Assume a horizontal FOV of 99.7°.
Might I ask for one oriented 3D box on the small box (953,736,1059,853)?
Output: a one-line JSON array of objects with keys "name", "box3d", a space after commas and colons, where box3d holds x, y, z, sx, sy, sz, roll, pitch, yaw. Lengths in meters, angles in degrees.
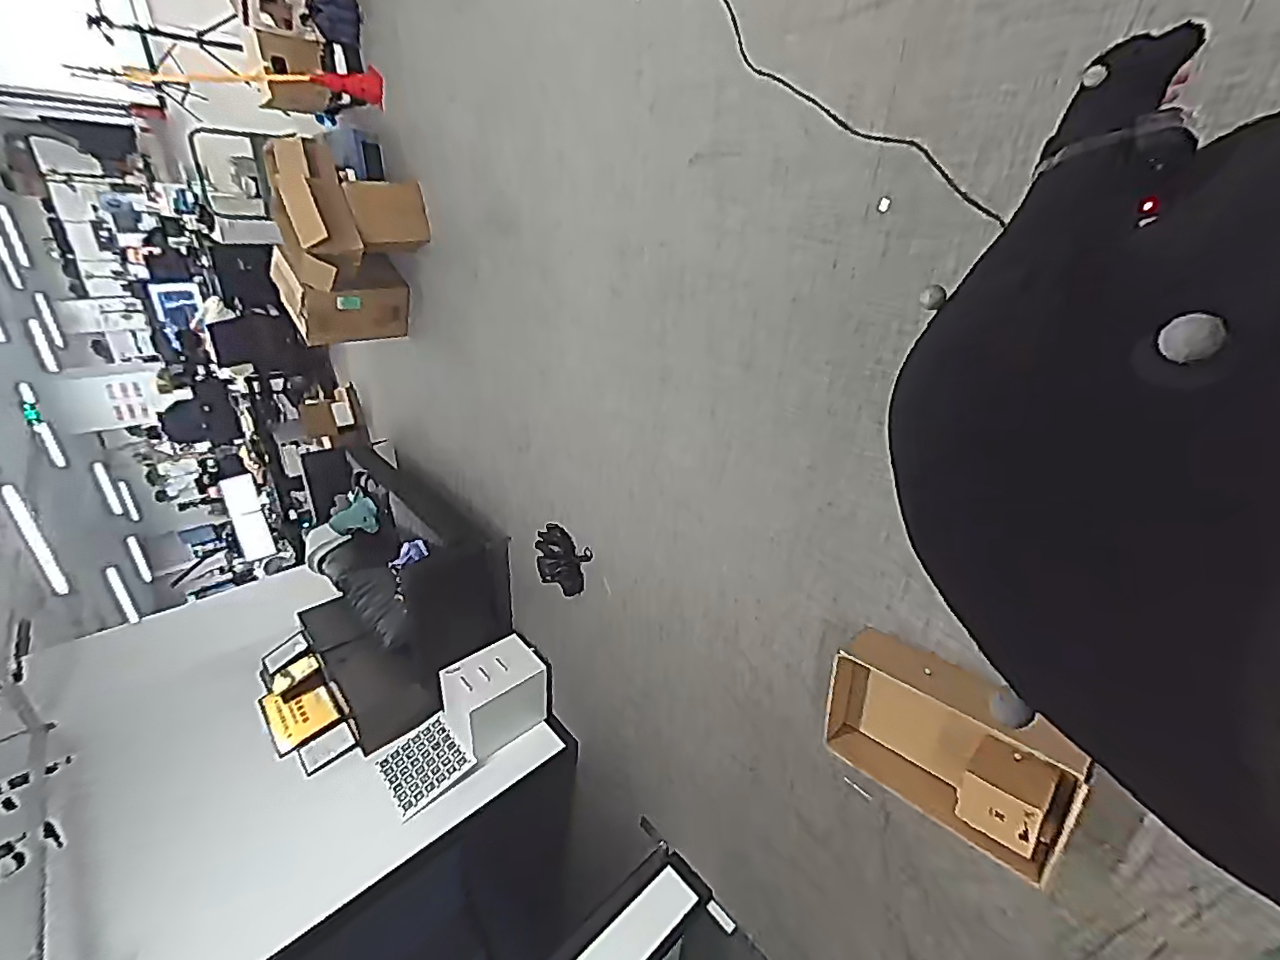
[{"name": "small box", "box3d": [0.957, 0.808, 1.416, 0.179, 0.176, 0.168, 19, 121, 45]}]
